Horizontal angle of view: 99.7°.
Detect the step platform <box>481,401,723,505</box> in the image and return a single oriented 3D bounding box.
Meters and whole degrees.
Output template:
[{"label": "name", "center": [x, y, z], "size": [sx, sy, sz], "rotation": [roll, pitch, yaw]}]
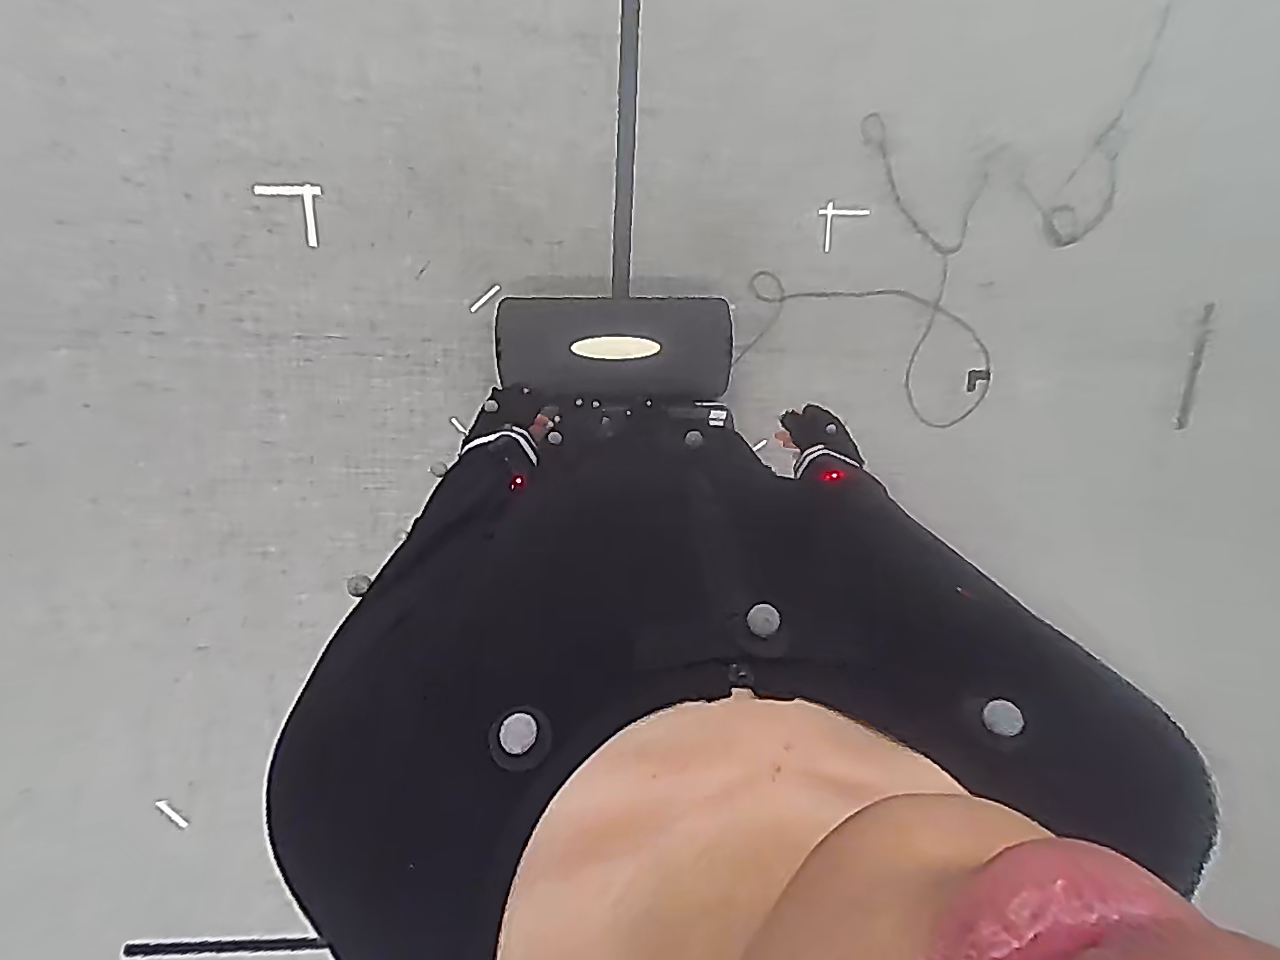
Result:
[{"label": "step platform", "center": [-0.105, -0.081, 1.559], "size": [0.684, 0.204, 0.286], "rotation": [-1, 100, -3]}]
